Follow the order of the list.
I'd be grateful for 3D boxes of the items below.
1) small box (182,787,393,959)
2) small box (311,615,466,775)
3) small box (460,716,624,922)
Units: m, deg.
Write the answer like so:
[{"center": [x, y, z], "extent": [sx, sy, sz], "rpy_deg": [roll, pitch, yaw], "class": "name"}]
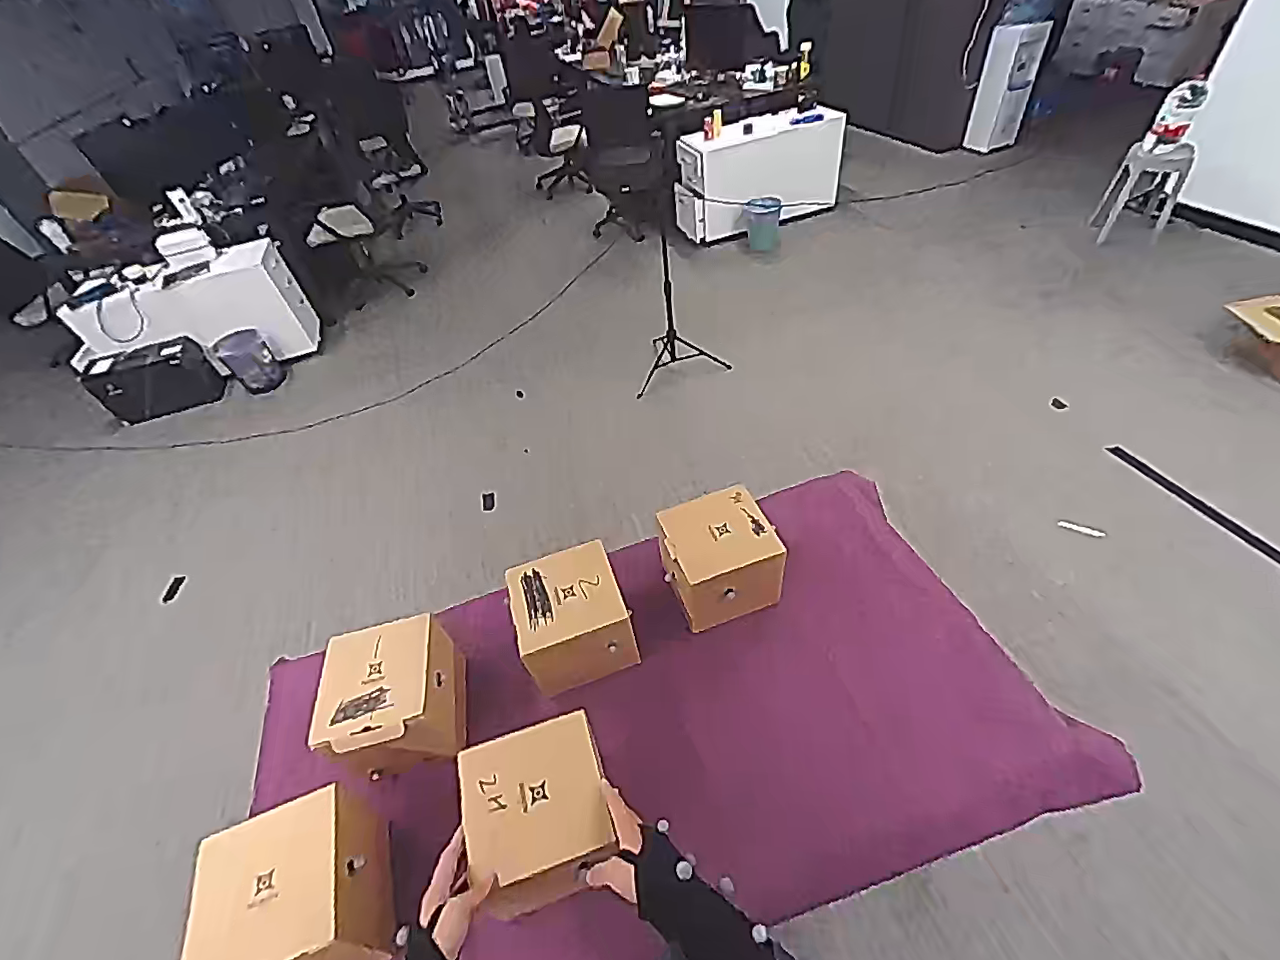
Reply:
[{"center": [-0.434, 0.539, 0.692], "extent": [0.168, 0.176, 0.179], "rpy_deg": [-20, 47, -12], "class": "small box"}, {"center": [-0.387, 0.351, 0.869], "extent": [0.168, 0.176, 0.179], "rpy_deg": [-14, 46, -5], "class": "small box"}, {"center": [-0.124, 0.452, 0.722], "extent": [0.179, 0.176, 0.168], "rpy_deg": [-16, 45, -9], "class": "small box"}]
